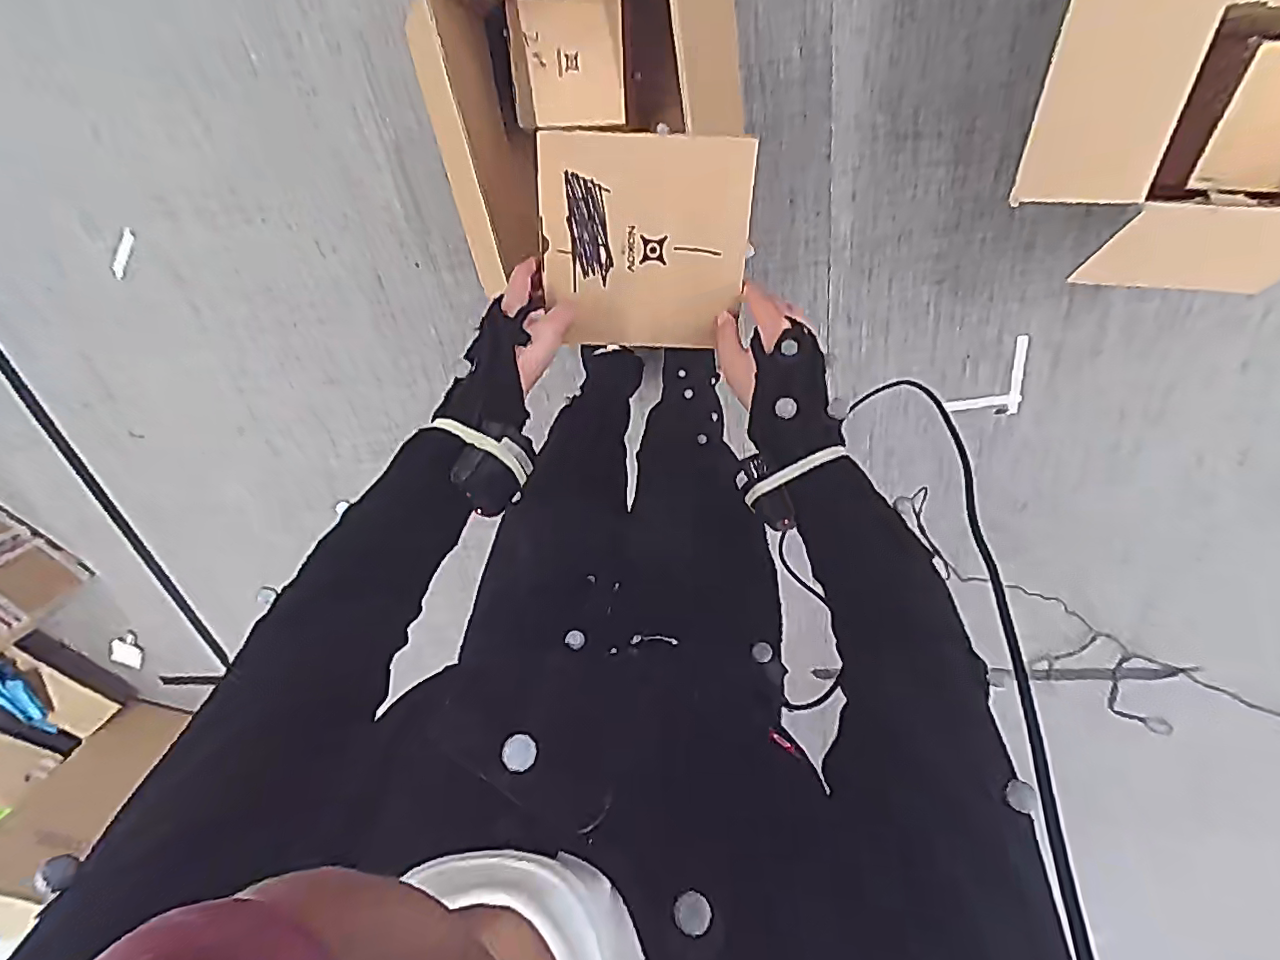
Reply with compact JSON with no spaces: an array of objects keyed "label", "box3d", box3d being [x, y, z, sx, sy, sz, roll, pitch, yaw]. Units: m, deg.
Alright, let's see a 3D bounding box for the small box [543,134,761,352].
[{"label":"small box","box3d":[0.012,-0.230,0.532,0.179,0.176,0.168,4,116,3]}]
